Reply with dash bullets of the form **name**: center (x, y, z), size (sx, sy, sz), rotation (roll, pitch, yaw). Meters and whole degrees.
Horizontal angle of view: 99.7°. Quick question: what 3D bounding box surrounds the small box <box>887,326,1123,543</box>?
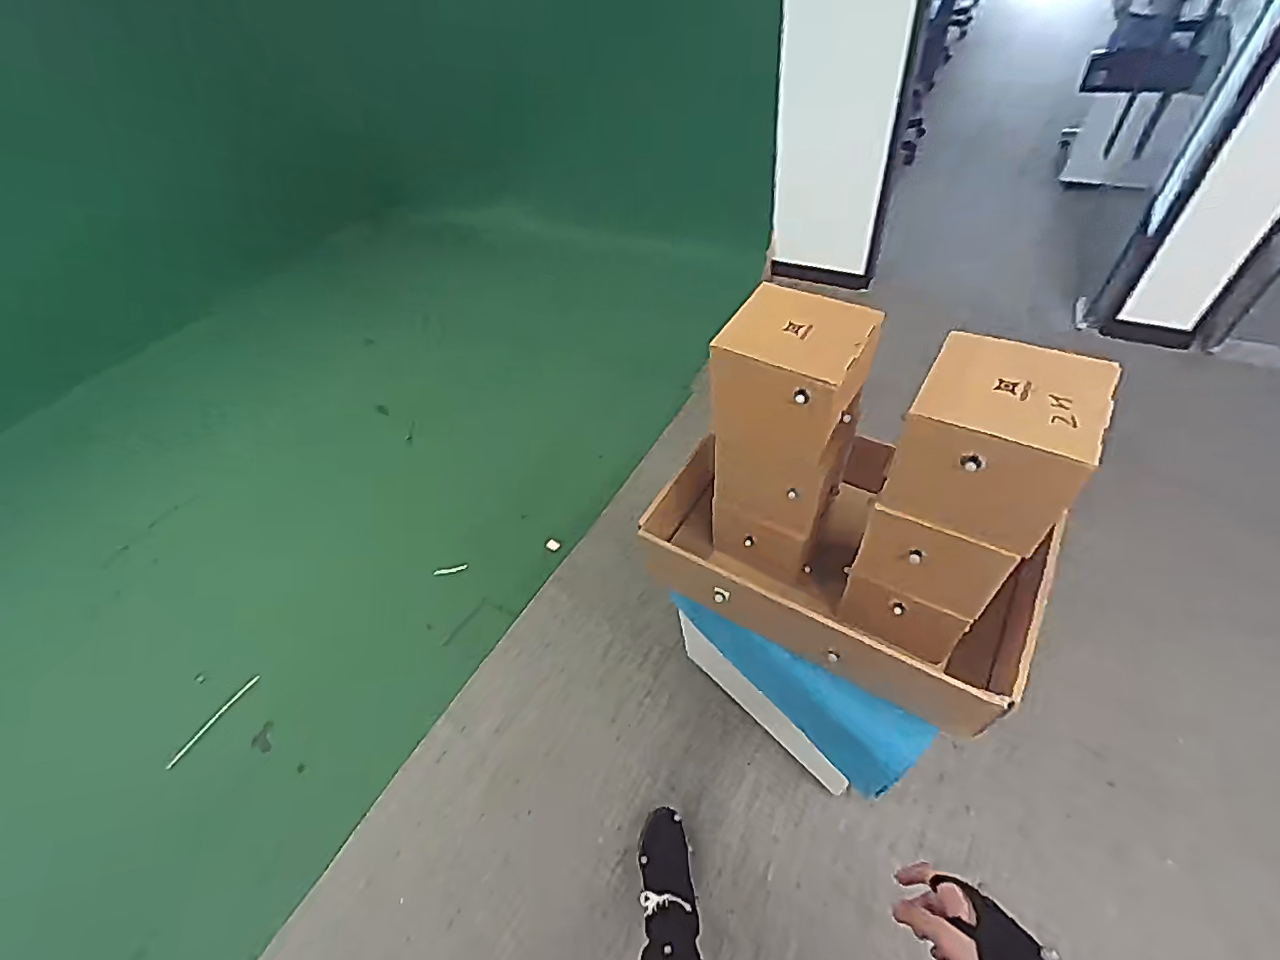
- **small box**: center (0.418, -0.052, 0.646), size (0.179, 0.176, 0.168), rotation (24, 60, 27)

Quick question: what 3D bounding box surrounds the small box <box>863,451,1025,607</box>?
- **small box**: center (0.436, 0.054, 0.772), size (0.179, 0.176, 0.168), rotation (21, 59, 28)
